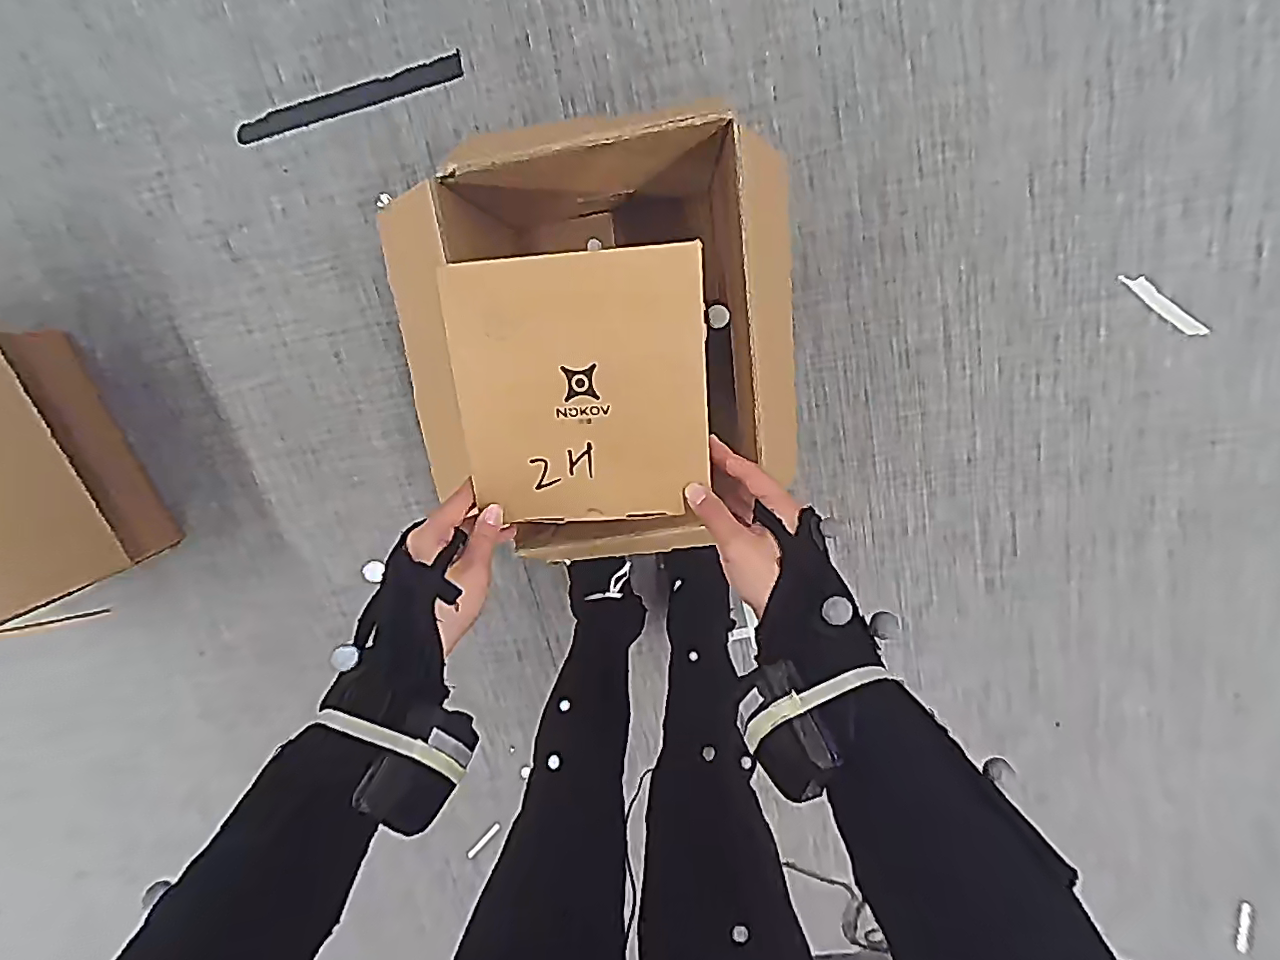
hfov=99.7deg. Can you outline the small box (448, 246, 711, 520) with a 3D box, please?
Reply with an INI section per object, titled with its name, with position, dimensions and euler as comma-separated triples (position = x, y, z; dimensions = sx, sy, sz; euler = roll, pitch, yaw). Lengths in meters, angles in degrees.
[small box]
position = -0.032, -0.080, 0.437
dimensions = 0.168, 0.176, 0.179
euler = -3, 107, 5
